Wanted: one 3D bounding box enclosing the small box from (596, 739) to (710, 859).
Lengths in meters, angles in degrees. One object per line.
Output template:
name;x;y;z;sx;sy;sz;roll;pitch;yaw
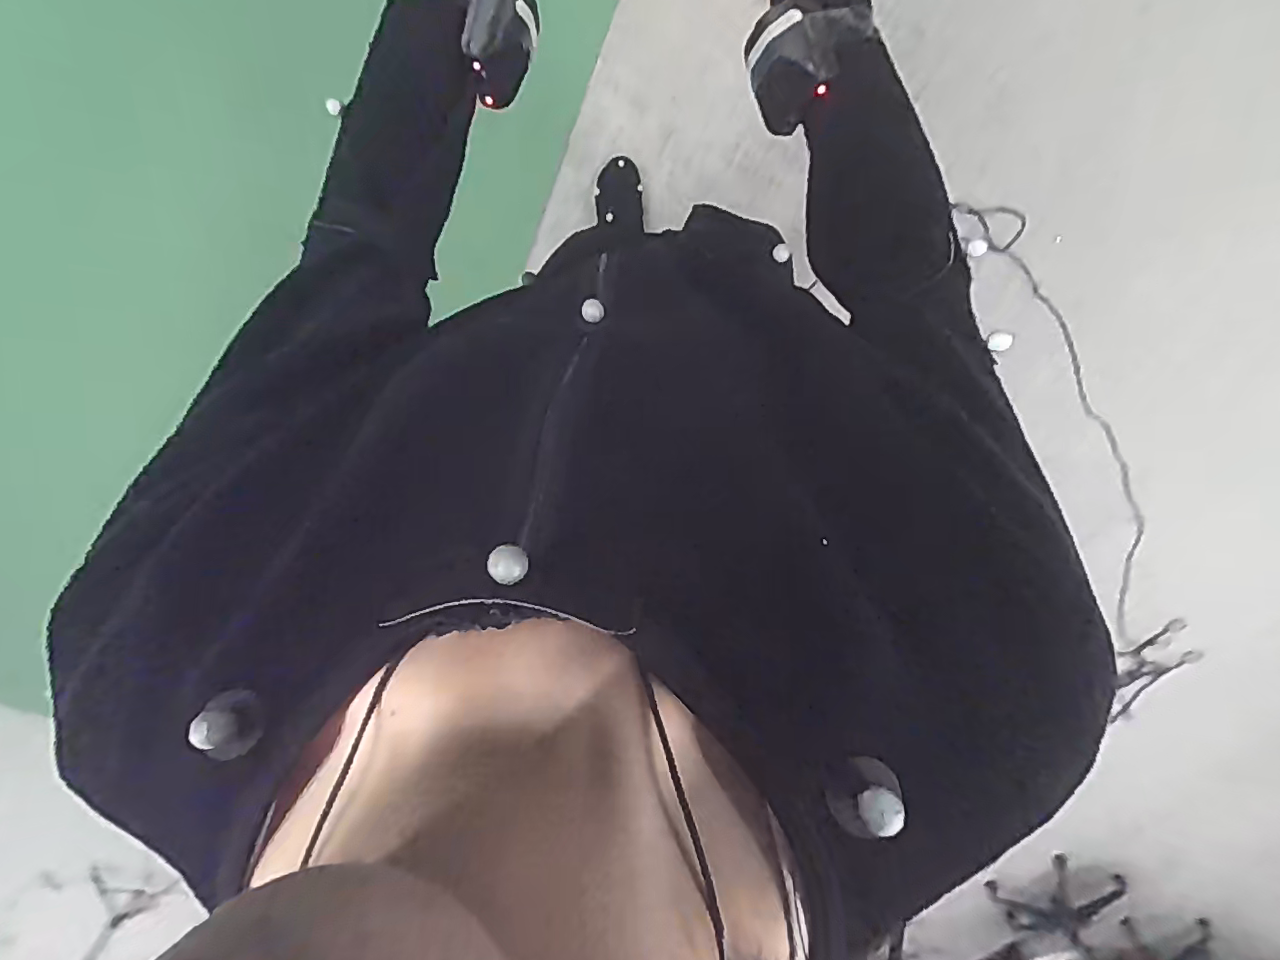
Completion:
small box;0.028;0.672;1.108;0.168;0.176;0.179;25;118;-12

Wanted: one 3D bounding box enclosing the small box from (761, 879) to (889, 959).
small box;0.352;0.907;1.043;0.179;0.176;0.168;18;118;-8

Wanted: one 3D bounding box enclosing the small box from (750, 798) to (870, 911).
small box;0.361;0.832;1.186;0.179;0.176;0.168;20;118;-8
